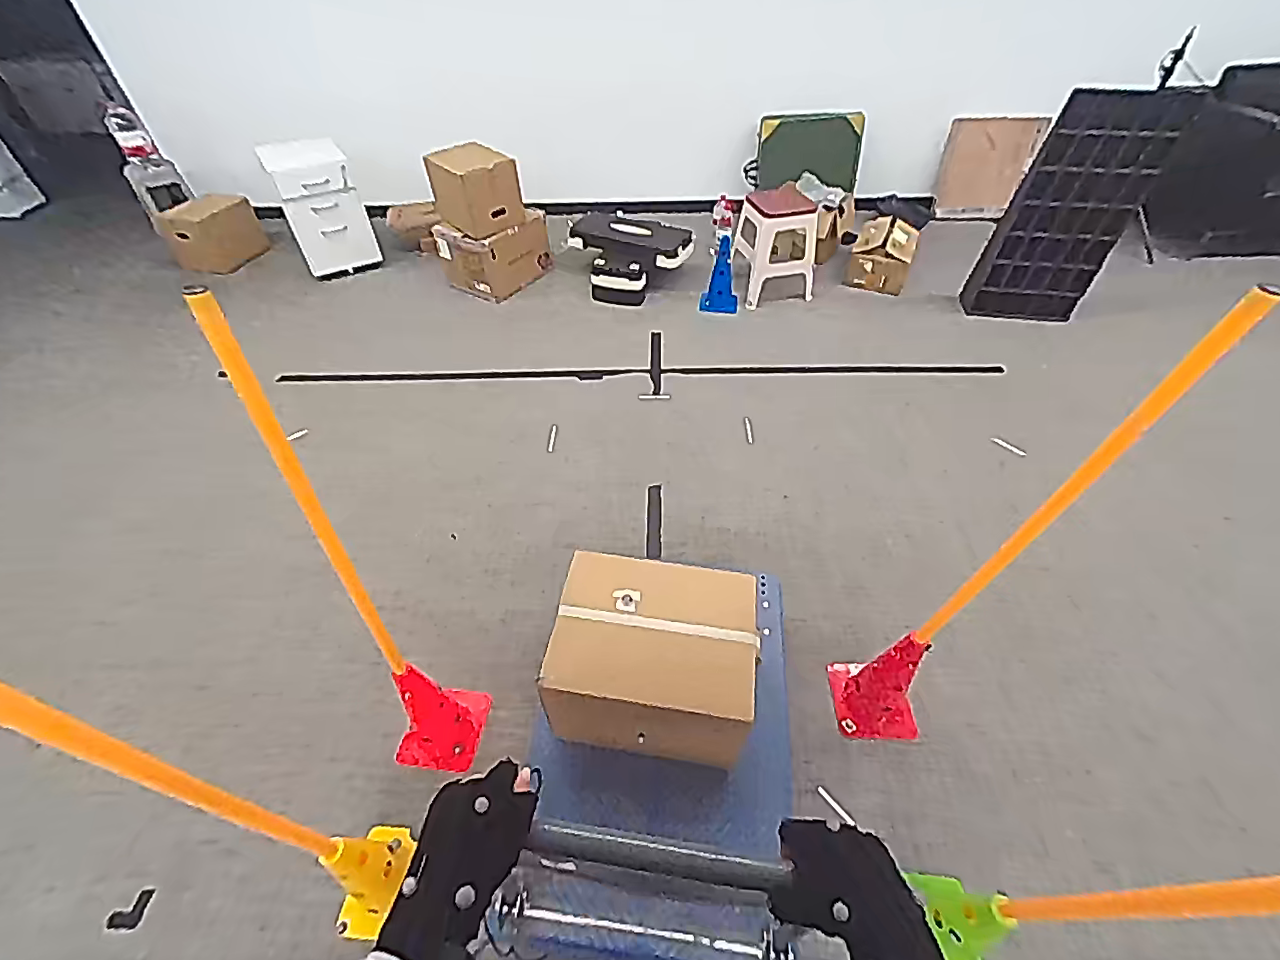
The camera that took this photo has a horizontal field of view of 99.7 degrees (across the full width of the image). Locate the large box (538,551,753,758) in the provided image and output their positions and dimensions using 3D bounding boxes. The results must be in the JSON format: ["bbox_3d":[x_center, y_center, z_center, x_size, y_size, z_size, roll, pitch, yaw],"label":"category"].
[{"bbox_3d":[0.029,0.392,1.207,0.408,0.320,0.320,7,49,7],"label":"large box"}]

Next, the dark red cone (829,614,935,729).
[{"bbox_3d":[0.621,0.446,1.321,0.201,0.394,0.202,1,47,0],"label":"dark red cone"}]

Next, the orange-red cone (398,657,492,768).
[{"bbox_3d":[-0.511,0.522,1.303,0.198,0.360,0.199,6,46,6],"label":"orange-red cone"}]
